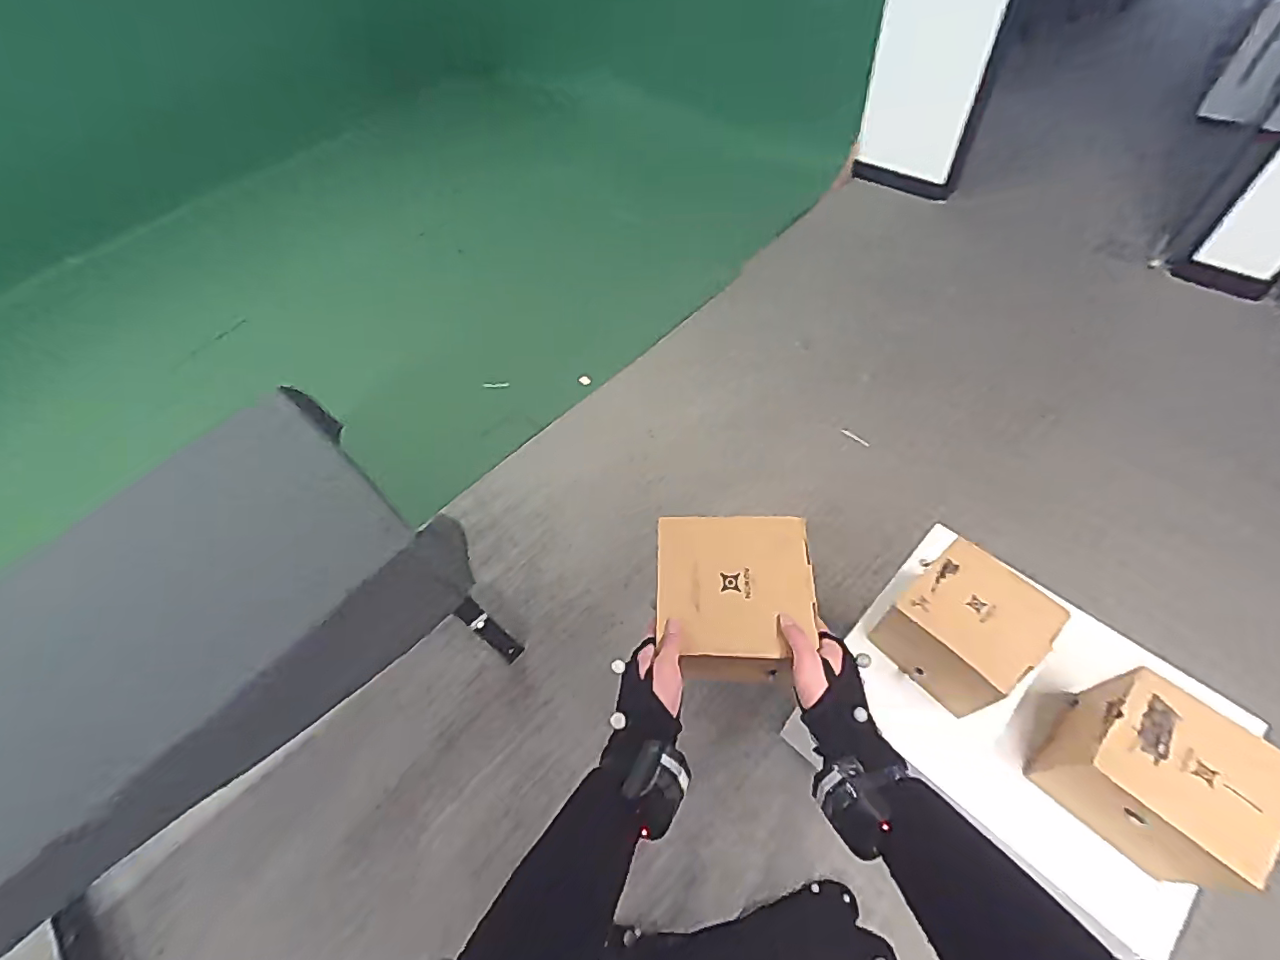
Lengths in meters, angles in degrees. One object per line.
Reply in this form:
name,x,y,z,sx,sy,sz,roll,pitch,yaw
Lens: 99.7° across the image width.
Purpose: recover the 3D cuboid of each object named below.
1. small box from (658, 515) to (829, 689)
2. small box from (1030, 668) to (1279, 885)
small box,0.111,0.153,0.660,0.179,0.176,0.168,-2,58,3
small box,0.666,0.387,0.709,0.168,0.176,0.179,-41,62,-21
